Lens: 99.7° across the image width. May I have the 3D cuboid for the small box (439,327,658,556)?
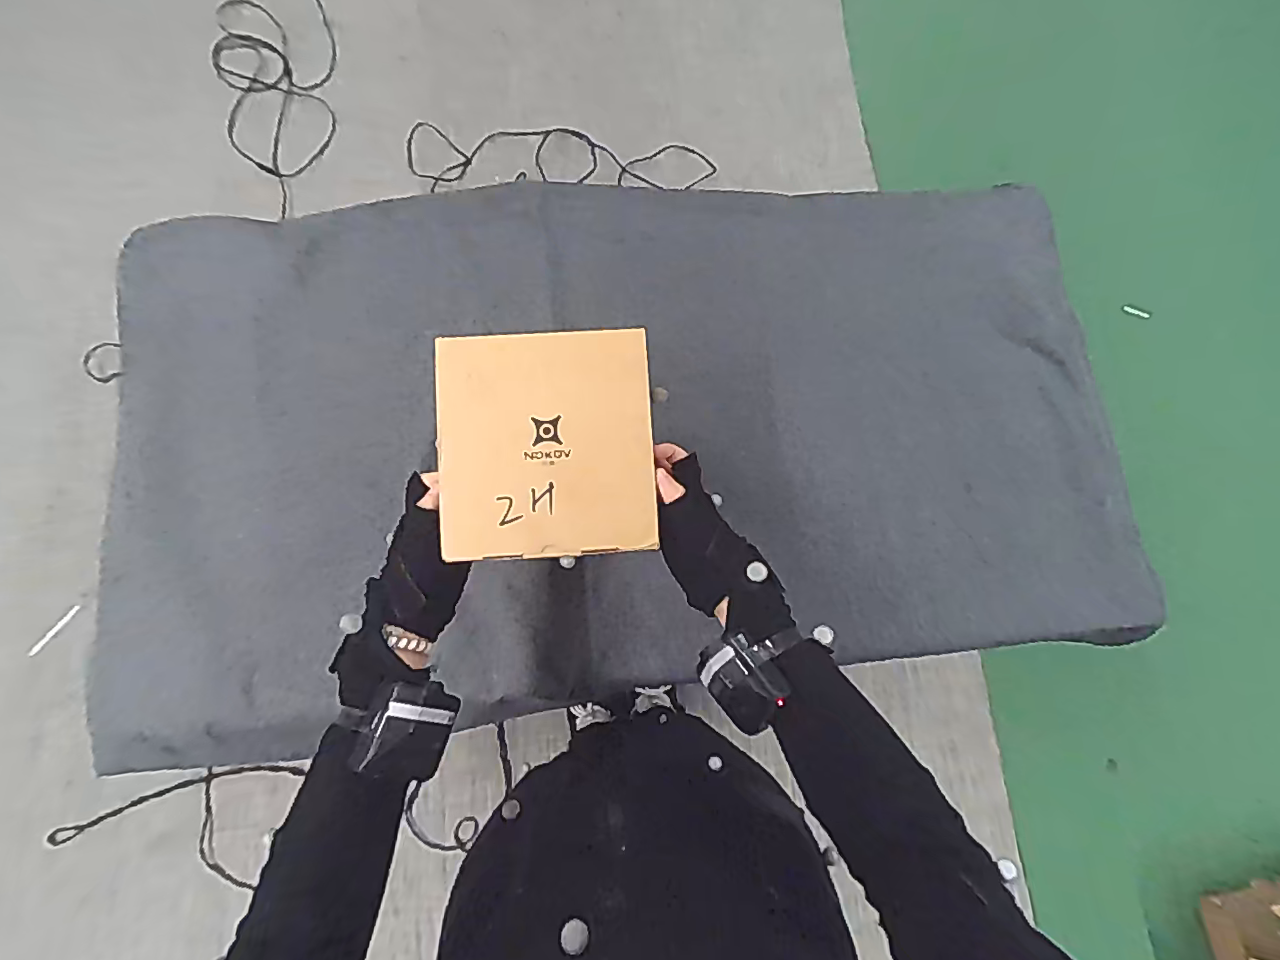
[{"bbox_3d":[-0.075,-0.024,0.495,0.168,0.176,0.179,-3,85,-2],"label":"small box"}]
